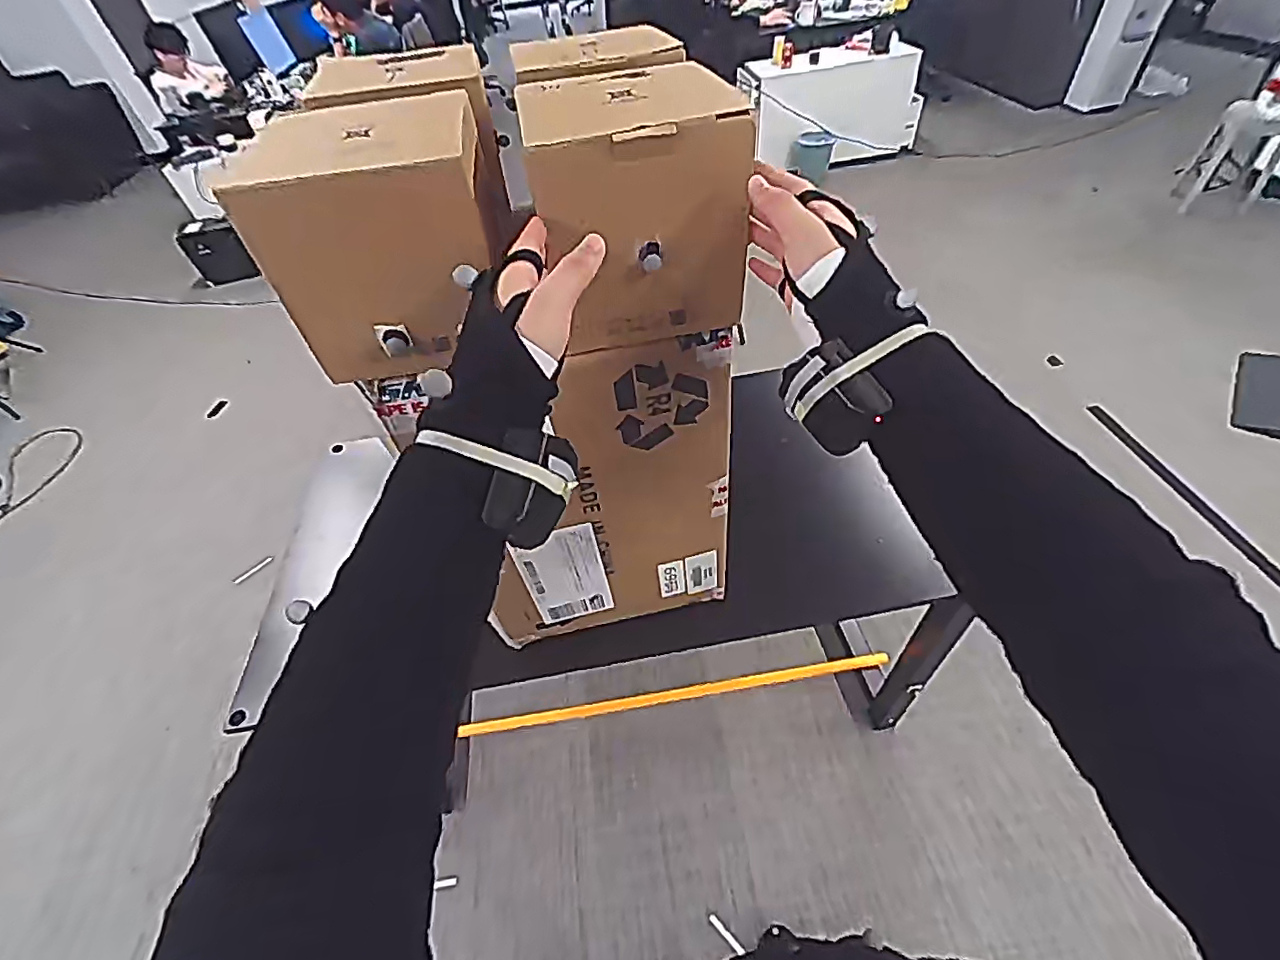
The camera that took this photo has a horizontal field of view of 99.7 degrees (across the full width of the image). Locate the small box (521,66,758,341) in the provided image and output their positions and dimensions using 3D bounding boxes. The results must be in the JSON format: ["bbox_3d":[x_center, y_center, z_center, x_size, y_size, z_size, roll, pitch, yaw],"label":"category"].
[{"bbox_3d":[-0.005,-0.239,0.483,0.168,0.176,0.179,-10,49,-5],"label":"small box"}]
